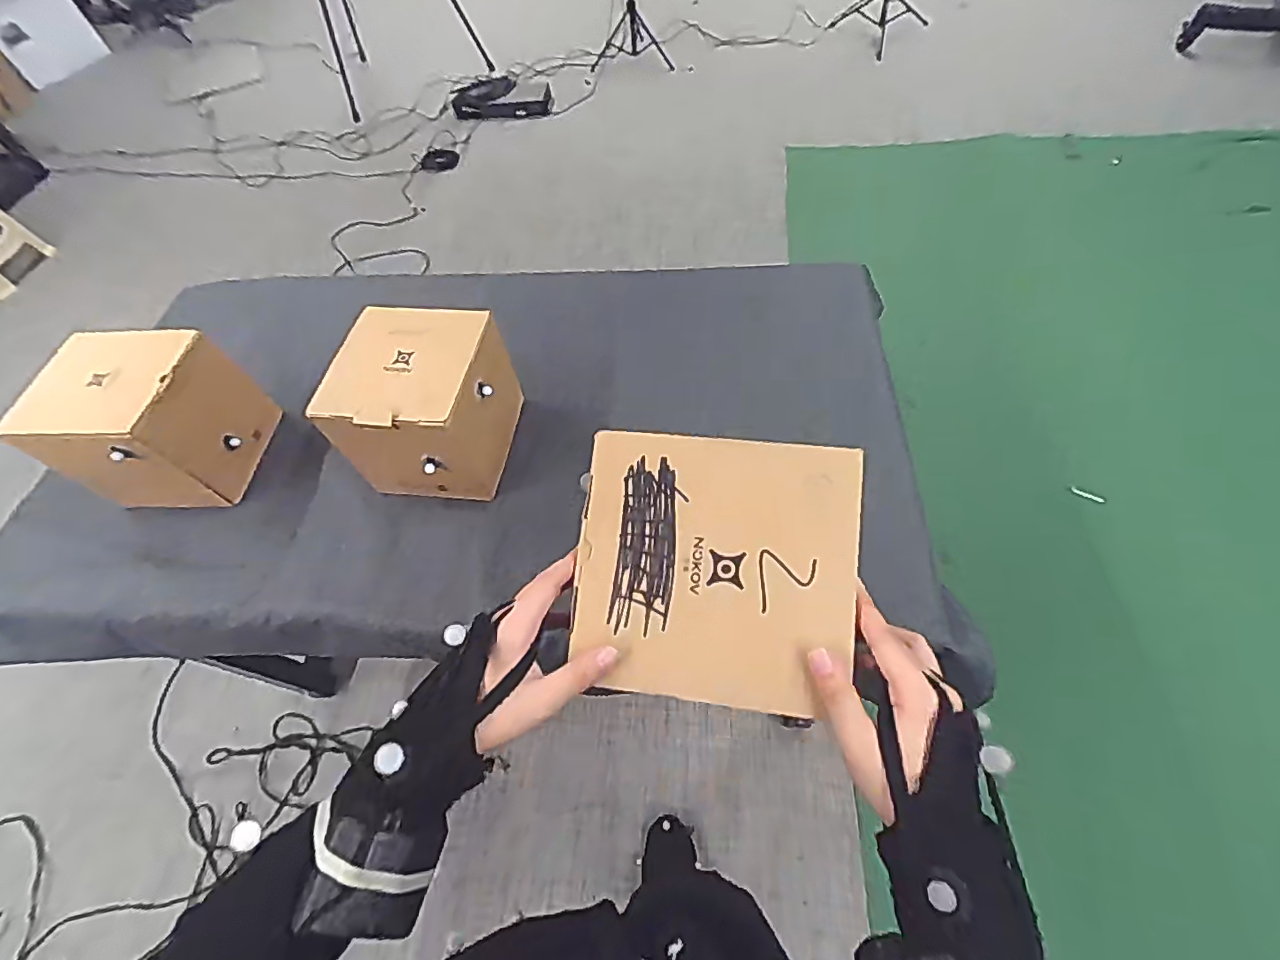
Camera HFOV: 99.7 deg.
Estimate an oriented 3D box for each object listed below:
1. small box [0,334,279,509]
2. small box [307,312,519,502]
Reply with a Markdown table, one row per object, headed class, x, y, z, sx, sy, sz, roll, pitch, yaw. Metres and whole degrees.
| class | x | y | z | sx | sy | sz | roll | pitch | yaw |
| --- | --- | --- | --- | --- | --- | --- | --- | --- | --- |
| small box | -0.633 | -0.070 | 0.711 | 0.179 | 0.176 | 0.168 | 0 | 58 | 4 |
| small box | -0.267 | -0.088 | 0.687 | 0.168 | 0.176 | 0.179 | 4 | 57 | 7 |
